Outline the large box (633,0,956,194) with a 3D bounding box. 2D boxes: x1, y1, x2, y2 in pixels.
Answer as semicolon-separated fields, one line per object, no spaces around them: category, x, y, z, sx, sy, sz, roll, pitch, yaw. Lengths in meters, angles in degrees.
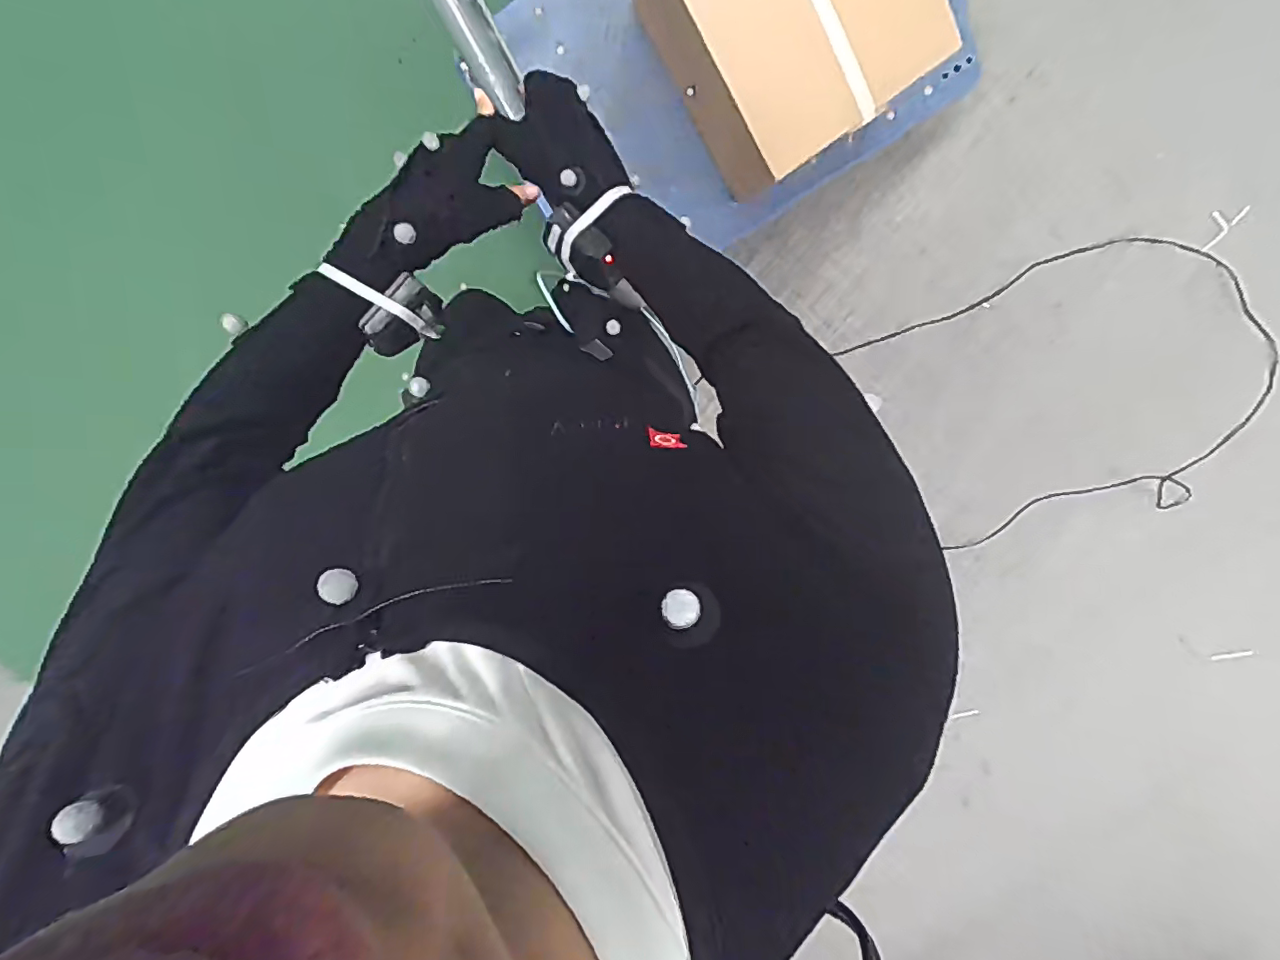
large box;0.220;-0.762;0.887;0.320;0.320;0.408;-33;108;10
